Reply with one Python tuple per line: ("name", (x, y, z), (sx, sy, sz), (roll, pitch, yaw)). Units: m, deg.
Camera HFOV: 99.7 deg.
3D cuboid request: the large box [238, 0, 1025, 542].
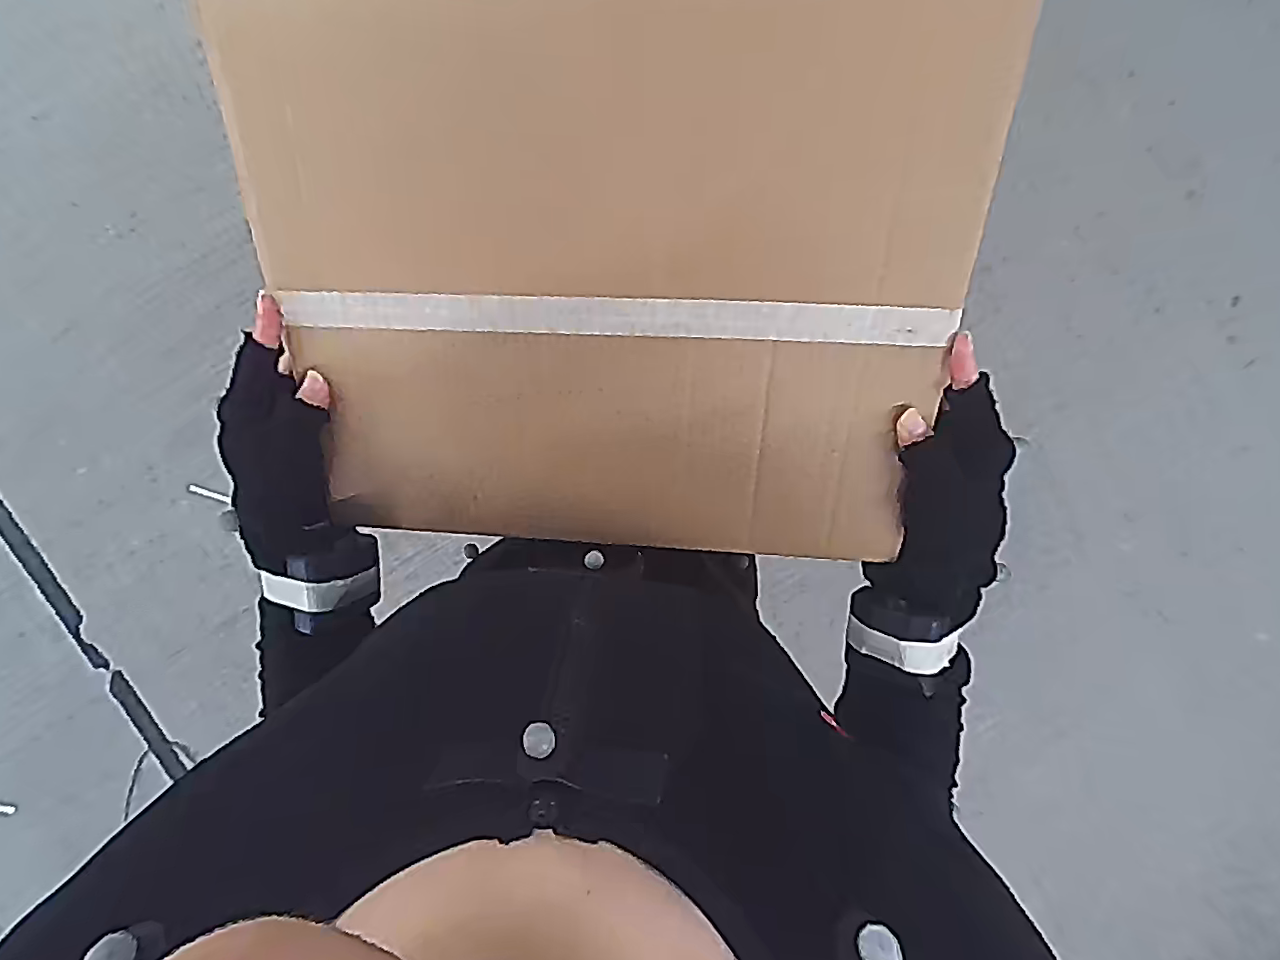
("large box", (-0.006, -0.165, 0.463), (0.408, 0.320, 0.320), (3, 116, 4))
